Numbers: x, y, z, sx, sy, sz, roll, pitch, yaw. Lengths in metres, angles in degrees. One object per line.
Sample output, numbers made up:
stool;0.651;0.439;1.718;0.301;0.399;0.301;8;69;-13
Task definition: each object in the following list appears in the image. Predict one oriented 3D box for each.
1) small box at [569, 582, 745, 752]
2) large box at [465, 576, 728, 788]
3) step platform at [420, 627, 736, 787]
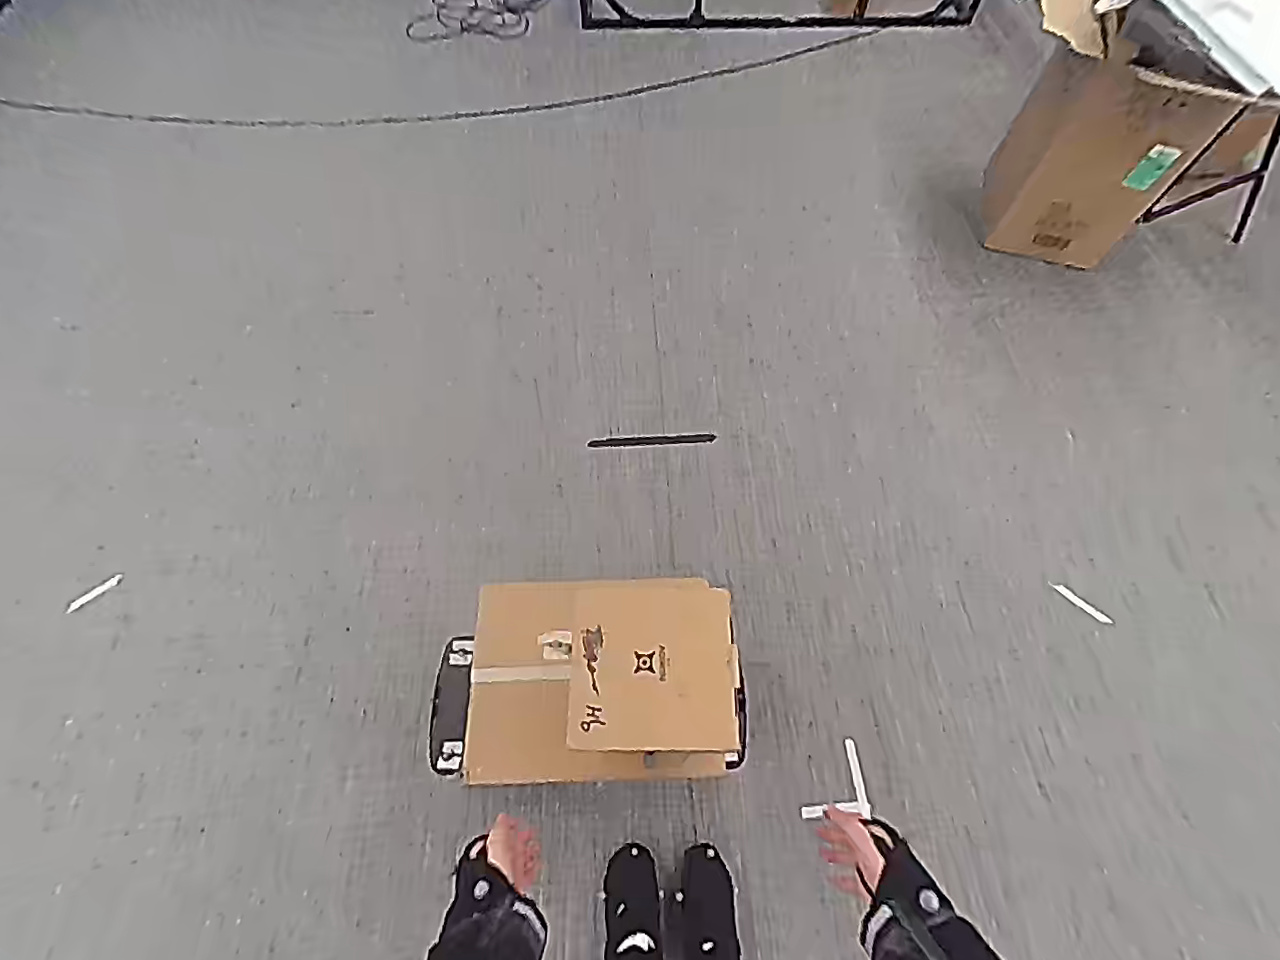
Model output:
small box;0.016;0.225;0.634;0.179;0.176;0.168;1;63;-1
large box;-0.069;0.381;1.012;0.408;0.320;0.320;-2;63;0
step platform;-0.124;0.505;1.216;0.684;0.204;0.286;3;63;2
